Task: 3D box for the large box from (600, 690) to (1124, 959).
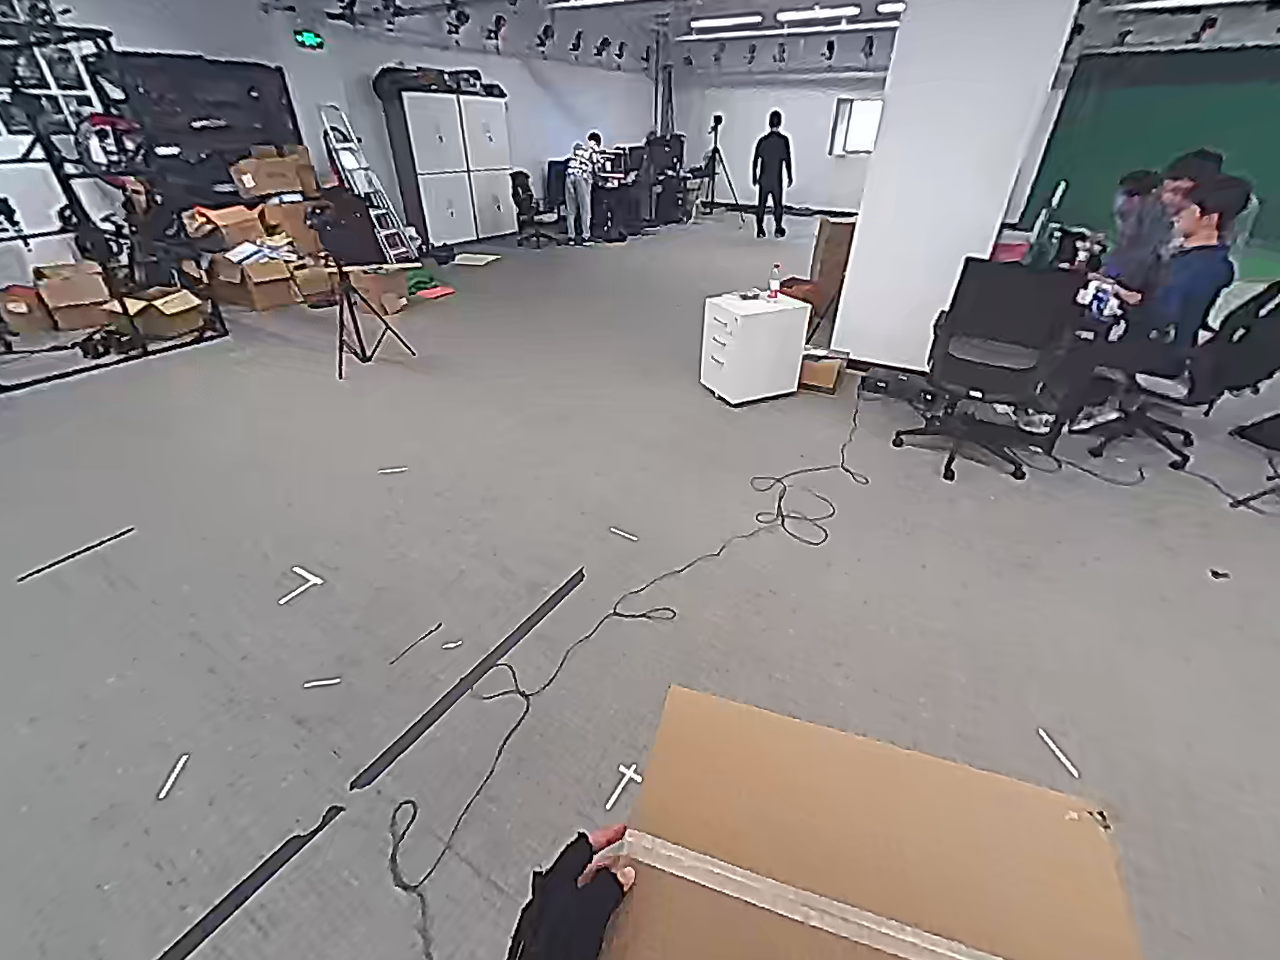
[{"bbox_3d":[0.188,0.477,0.554,0.408,0.320,0.320,11,44,15],"label":"large box"}]
